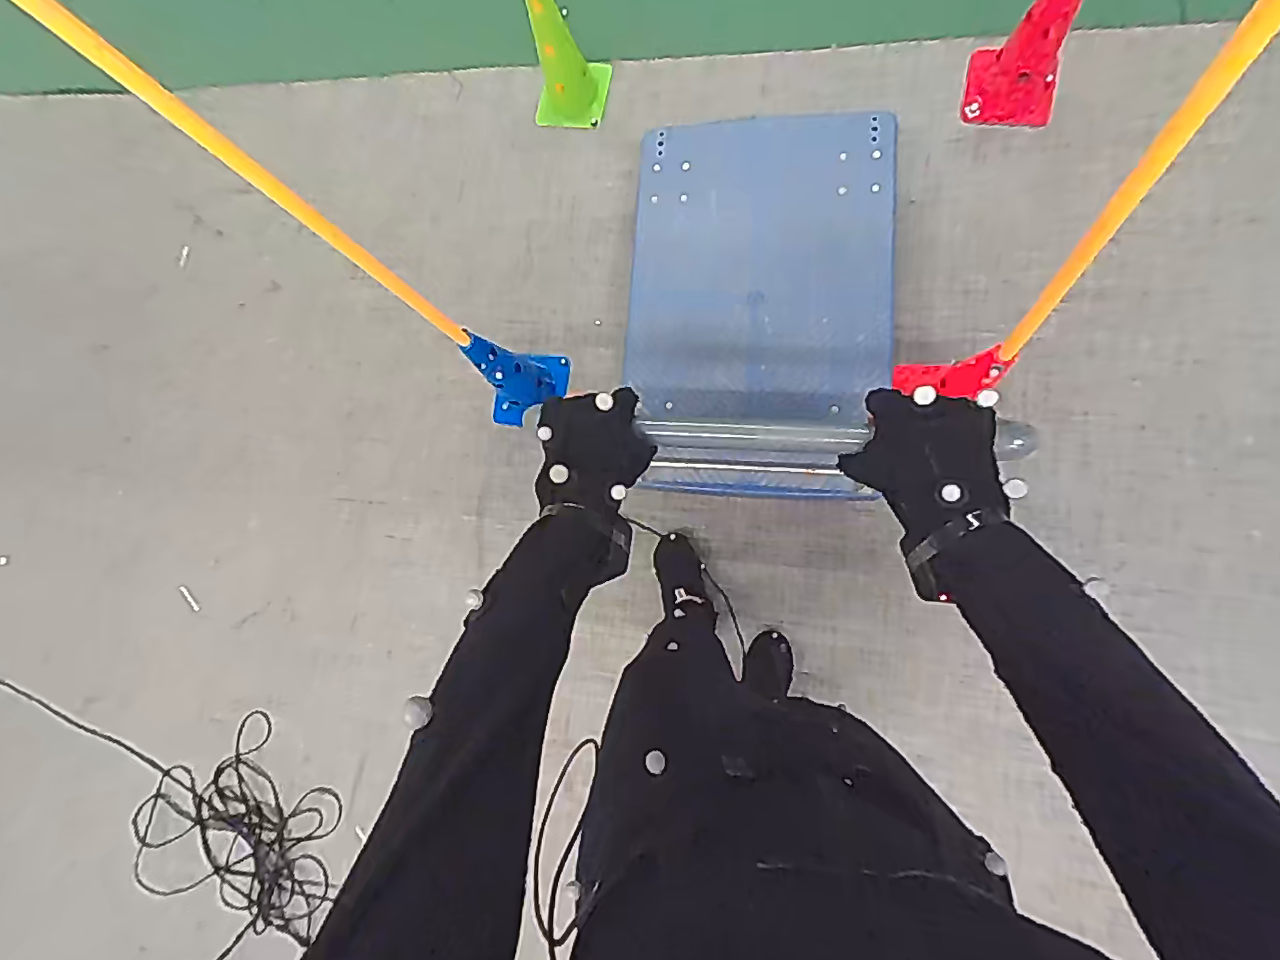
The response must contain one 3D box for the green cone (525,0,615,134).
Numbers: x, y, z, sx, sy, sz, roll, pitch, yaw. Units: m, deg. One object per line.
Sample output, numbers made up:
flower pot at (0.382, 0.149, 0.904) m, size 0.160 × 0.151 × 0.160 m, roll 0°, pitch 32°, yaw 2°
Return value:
green cone at (-0.216, -1.125, 1.405) m, size 0.202 × 0.368 × 0.200 m, roll 11°, pitch 84°, yaw 13°
